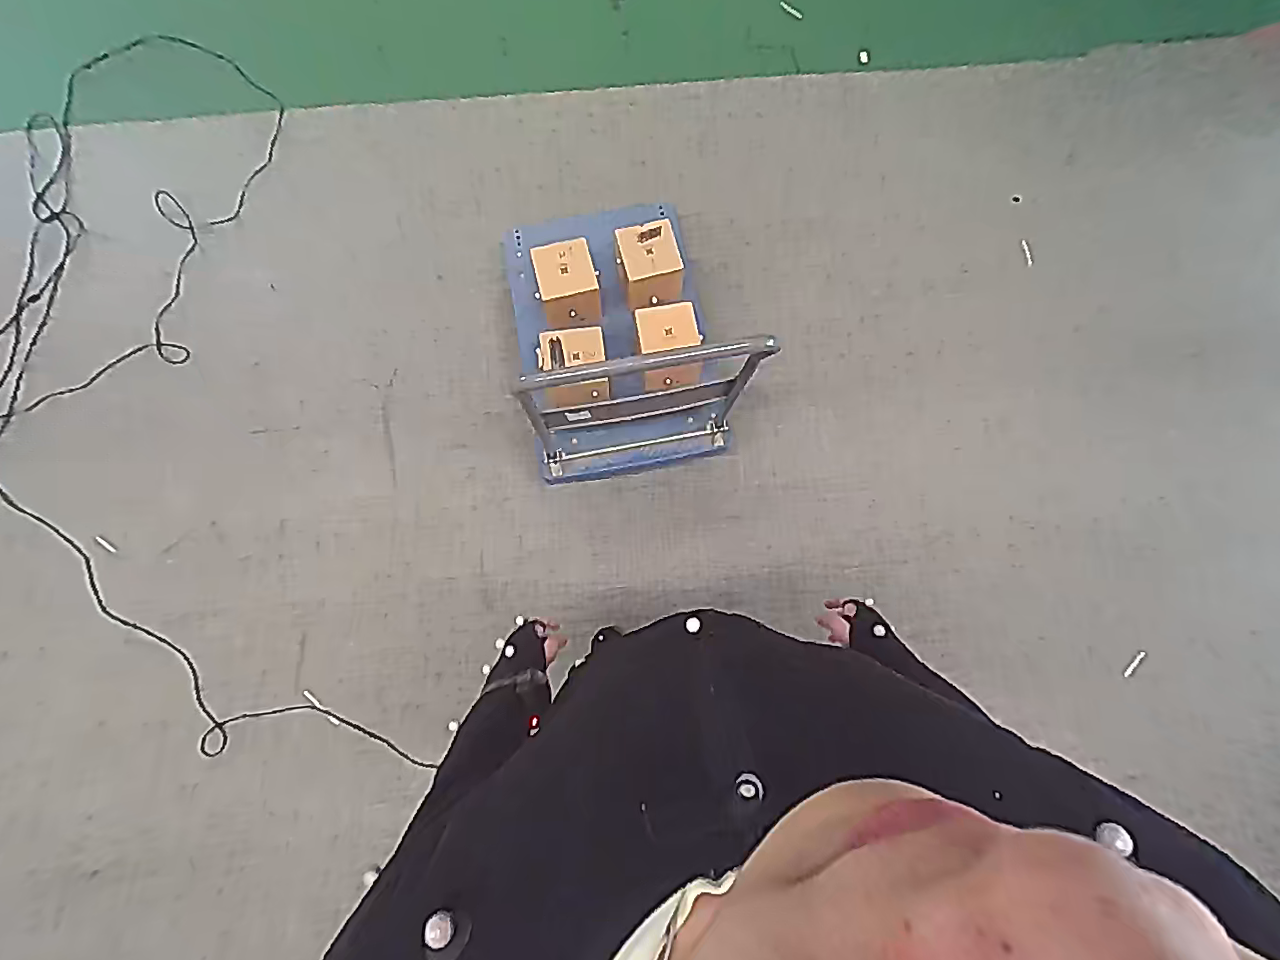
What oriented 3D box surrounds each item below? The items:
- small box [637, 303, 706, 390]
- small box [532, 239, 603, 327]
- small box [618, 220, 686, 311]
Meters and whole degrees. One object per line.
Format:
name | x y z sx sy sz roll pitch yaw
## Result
small box | 0.084 -0.382 1.566 0.168 0.176 0.179 -10 77 -3
small box | -0.211 -0.577 1.611 0.168 0.176 0.179 -14 77 -4
small box | 0.032 -0.640 1.627 0.168 0.176 0.179 -14 78 -3
